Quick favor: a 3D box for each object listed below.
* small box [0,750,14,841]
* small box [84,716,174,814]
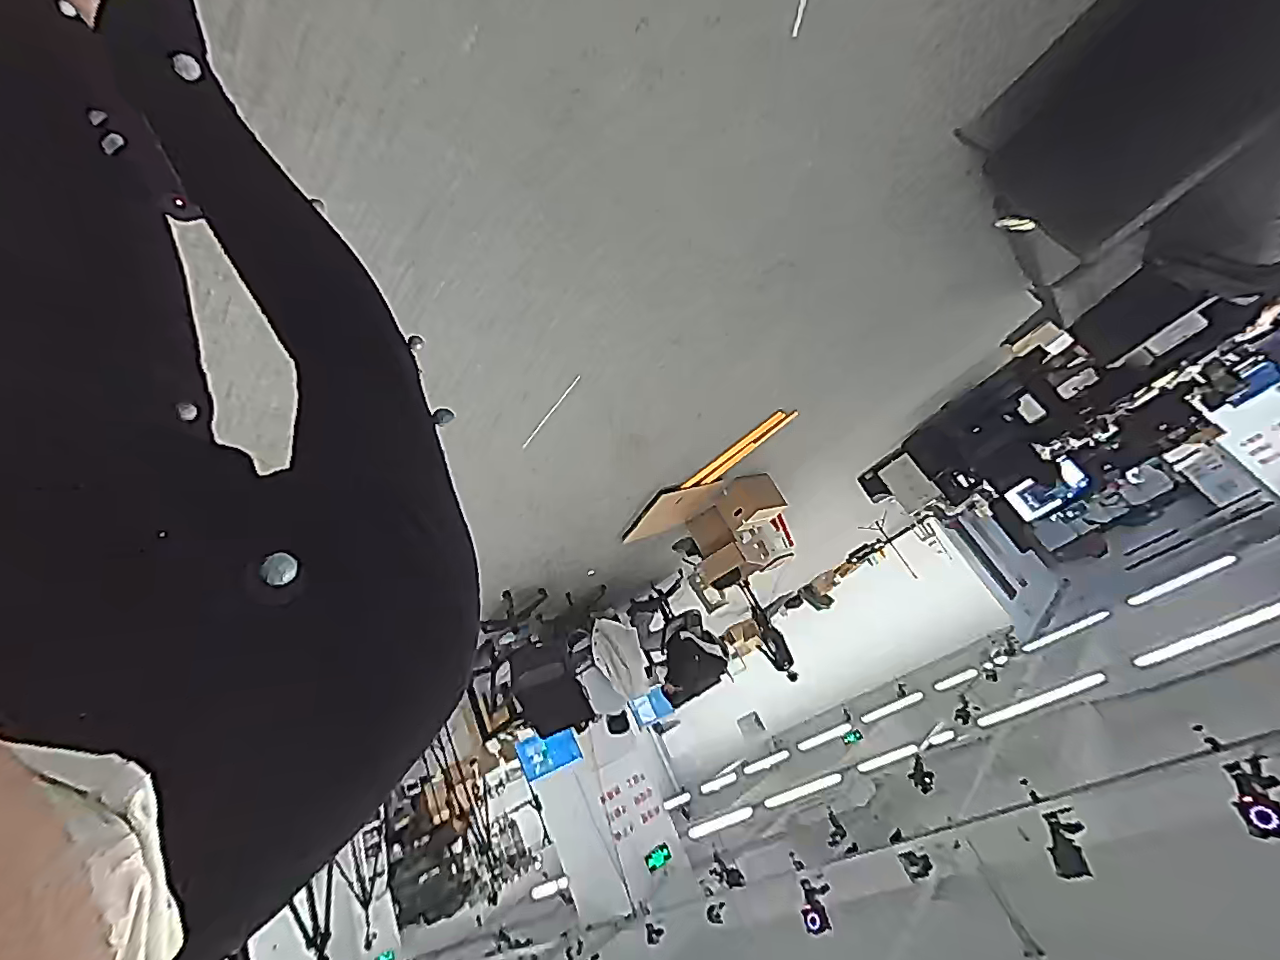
[{"bbox_3d":[-1.563,0.748,1.236,0.168,0.176,0.179,1,143,-48],"label":"small box"},{"bbox_3d":[-1.363,0.750,1.441,0.168,0.176,0.179,-1,147,-45],"label":"small box"}]
